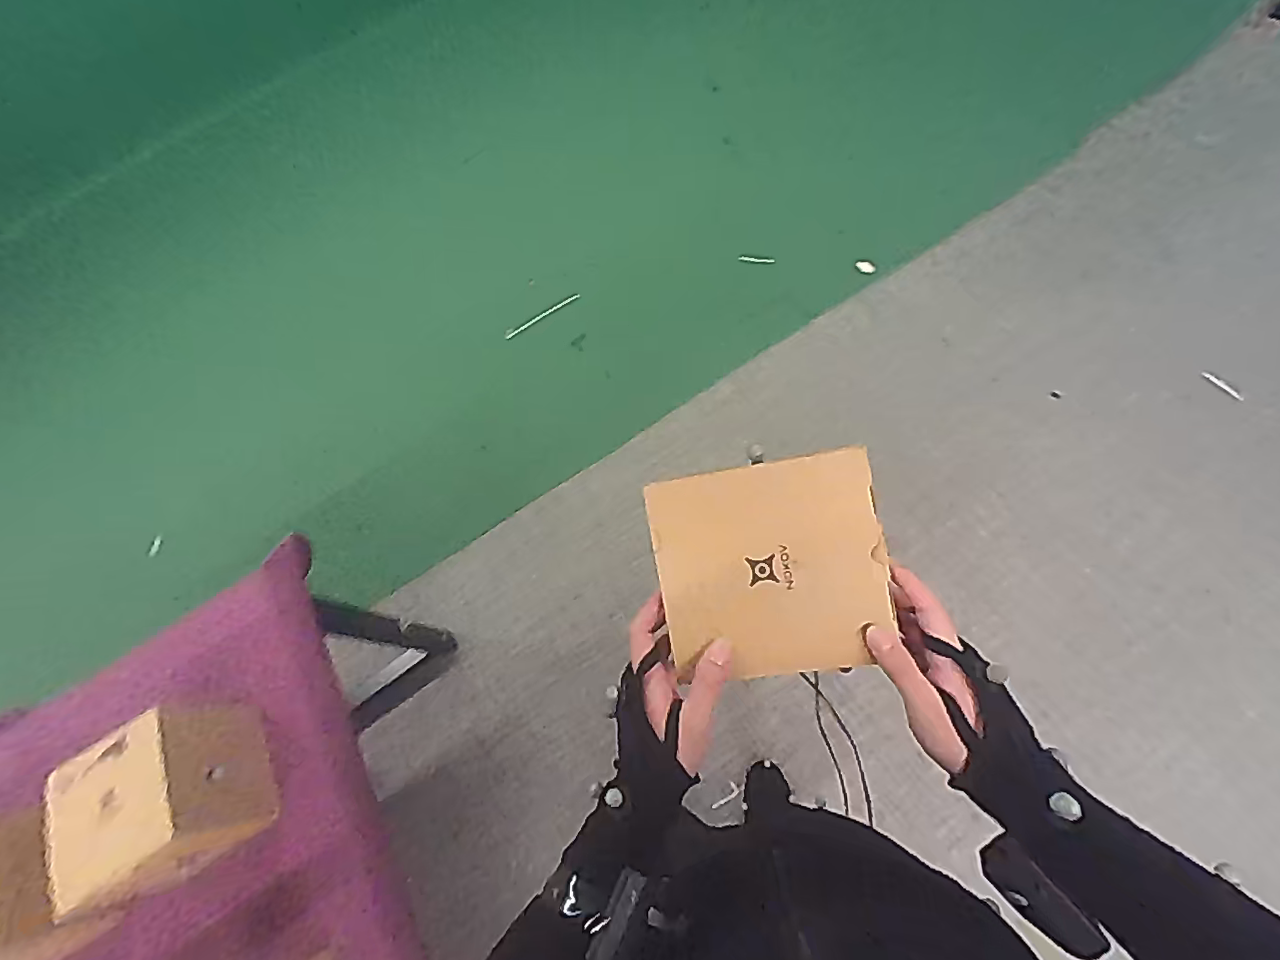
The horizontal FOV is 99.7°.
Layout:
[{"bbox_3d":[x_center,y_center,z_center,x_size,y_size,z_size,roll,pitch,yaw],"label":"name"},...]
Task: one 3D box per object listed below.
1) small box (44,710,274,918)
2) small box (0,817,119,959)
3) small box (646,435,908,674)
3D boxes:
[{"bbox_3d":[-0.652,0.441,0.749,0.168,0.176,0.179,-33,66,-3],"label":"small box"},{"bbox_3d":[-0.861,0.579,0.733,0.179,0.176,0.168,-35,65,-3],"label":"small box"},{"bbox_3d":[0.115,0.059,0.487,0.179,0.176,0.168,-9,89,10],"label":"small box"}]
